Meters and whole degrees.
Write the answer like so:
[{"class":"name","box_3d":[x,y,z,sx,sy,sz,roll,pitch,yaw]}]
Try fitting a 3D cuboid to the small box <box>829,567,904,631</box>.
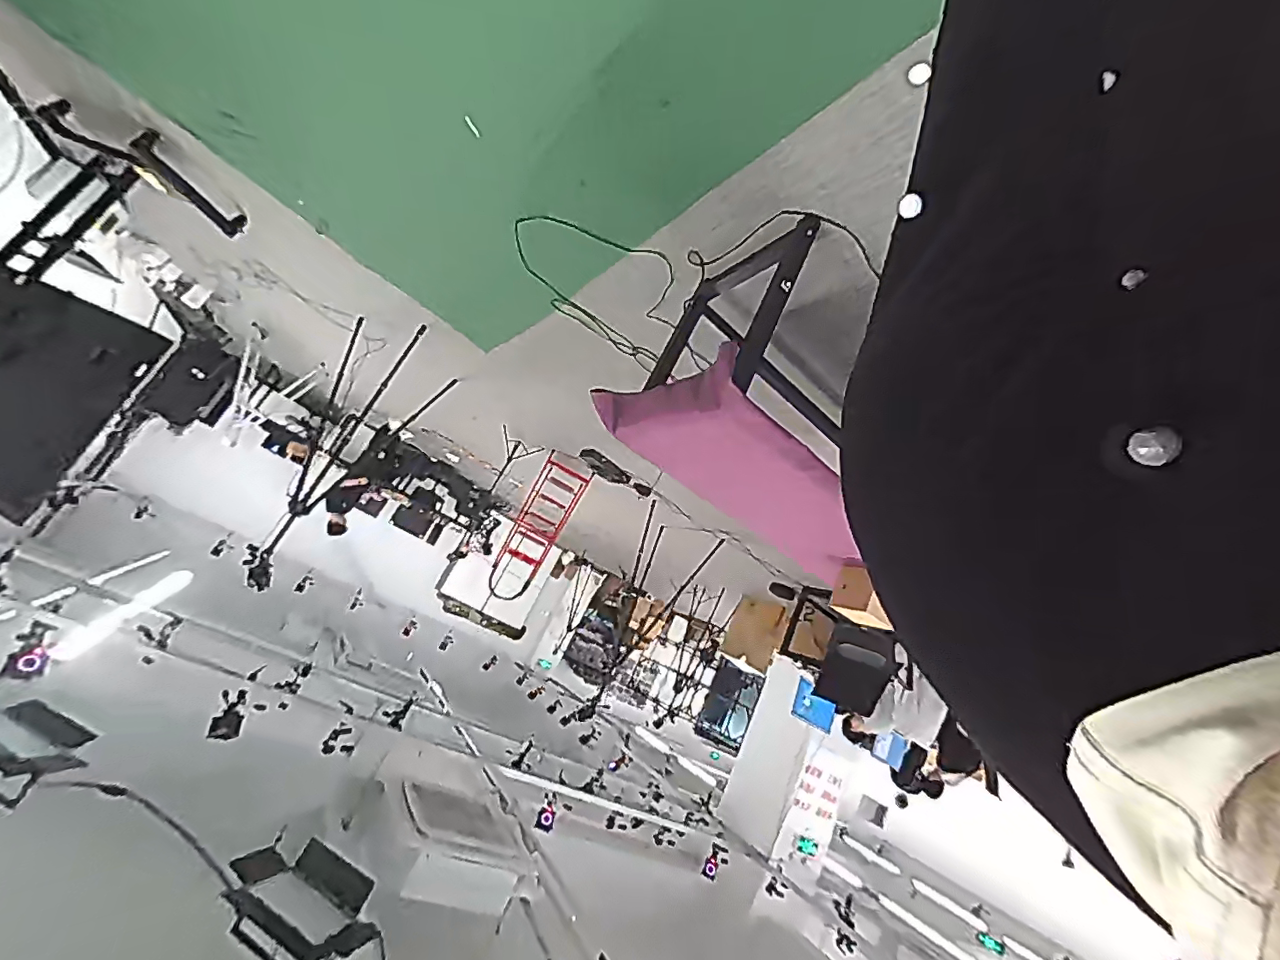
[{"class":"small box","box_3d":[0.843,0.434,2.005,0.168,0.176,0.179,33,162,-22]}]
